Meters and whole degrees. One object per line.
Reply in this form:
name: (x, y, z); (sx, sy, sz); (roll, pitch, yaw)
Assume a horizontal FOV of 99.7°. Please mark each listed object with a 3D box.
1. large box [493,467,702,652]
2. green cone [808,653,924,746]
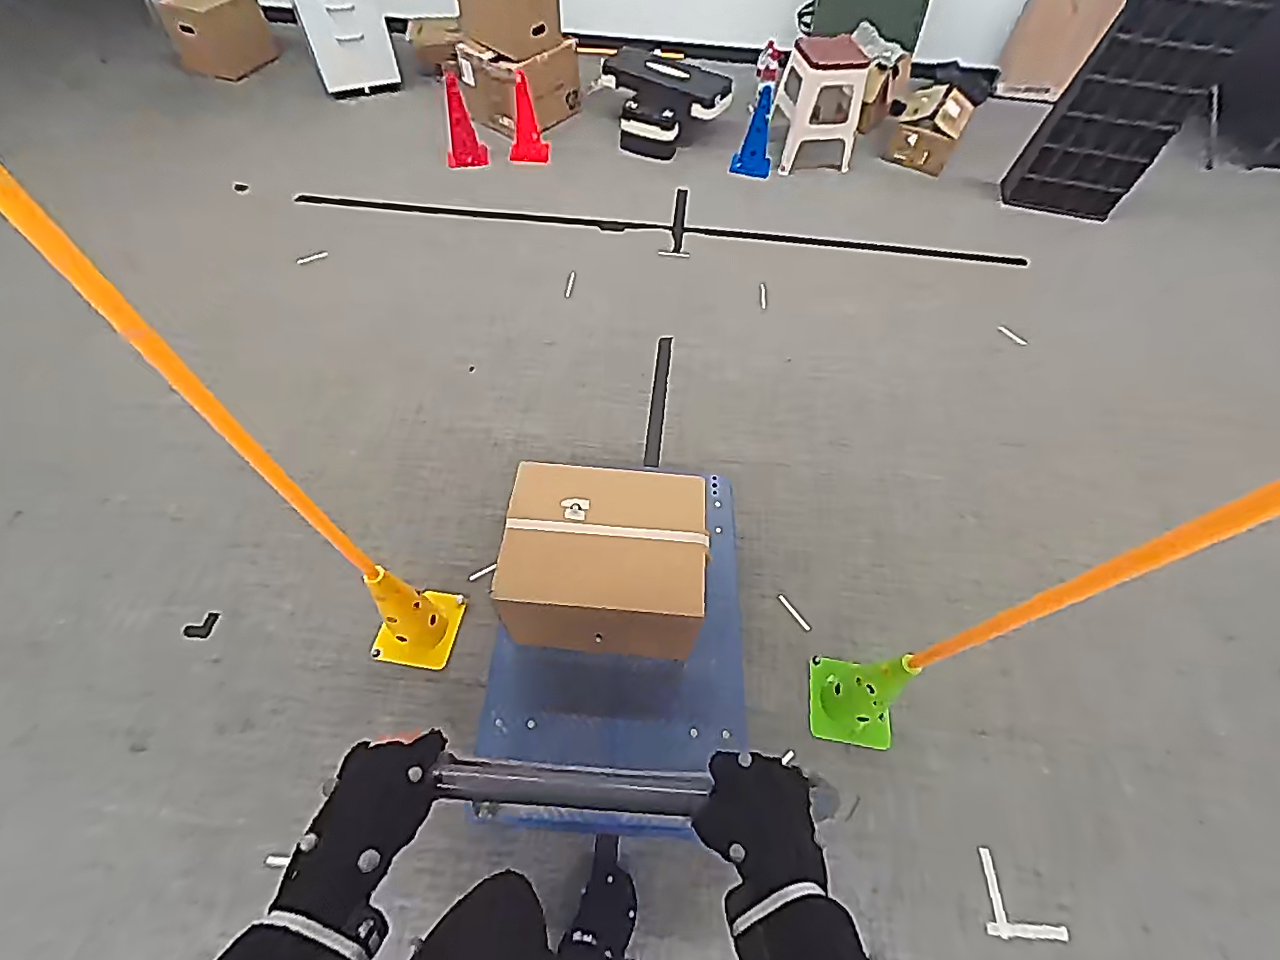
large box: (-0.075, 0.191, 1.227); (0.408, 0.320, 0.320); (5, 58, 1)
green cone: (0.543, 0.471, 1.248); (0.202, 0.368, 0.200); (10, 57, 2)
